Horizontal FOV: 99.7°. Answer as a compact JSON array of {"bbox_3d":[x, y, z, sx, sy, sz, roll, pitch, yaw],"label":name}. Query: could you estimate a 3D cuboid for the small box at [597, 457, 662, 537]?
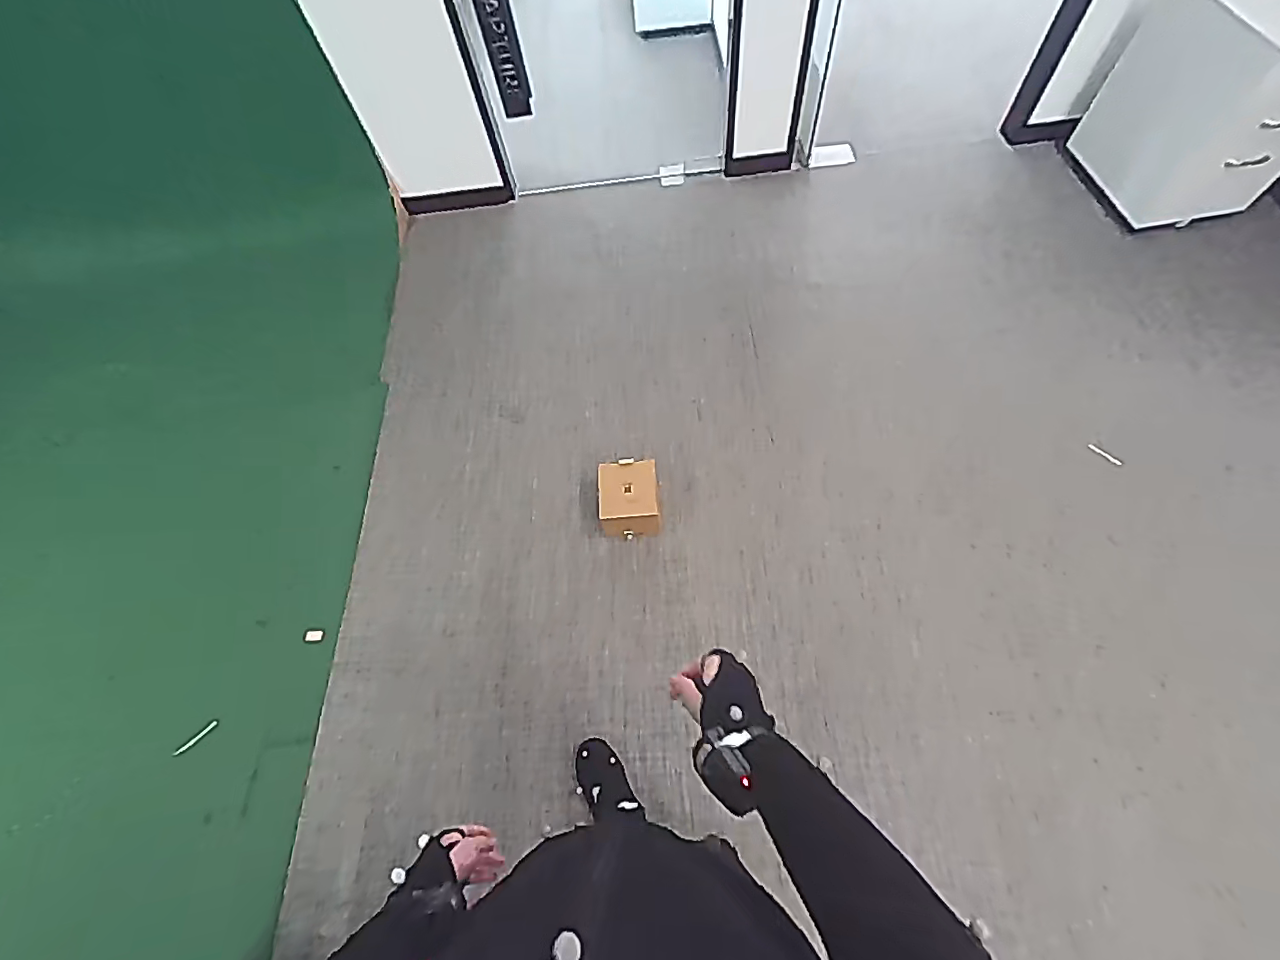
[{"bbox_3d":[-0.027,0.052,1.573,0.168,0.176,0.179,-3,63,6],"label":"small box"}]
